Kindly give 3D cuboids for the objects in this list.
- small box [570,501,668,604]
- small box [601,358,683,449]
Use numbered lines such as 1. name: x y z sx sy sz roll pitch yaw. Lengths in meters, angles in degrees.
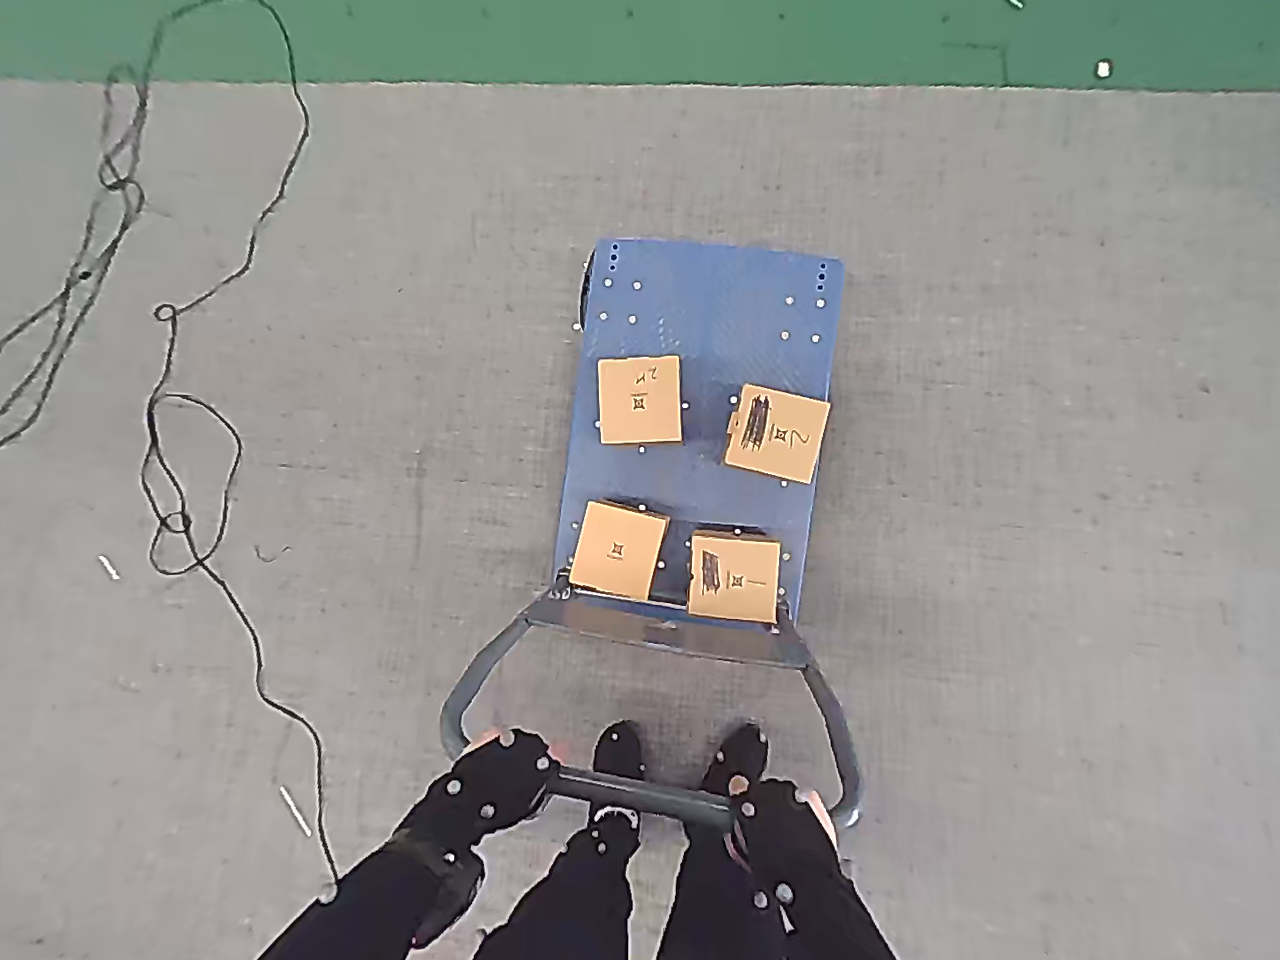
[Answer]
1. small box: -0.037 0.147 1.174 0.168 0.176 0.179 14 91 5
2. small box: 0.009 -0.157 1.173 0.168 0.176 0.179 -1 89 5
